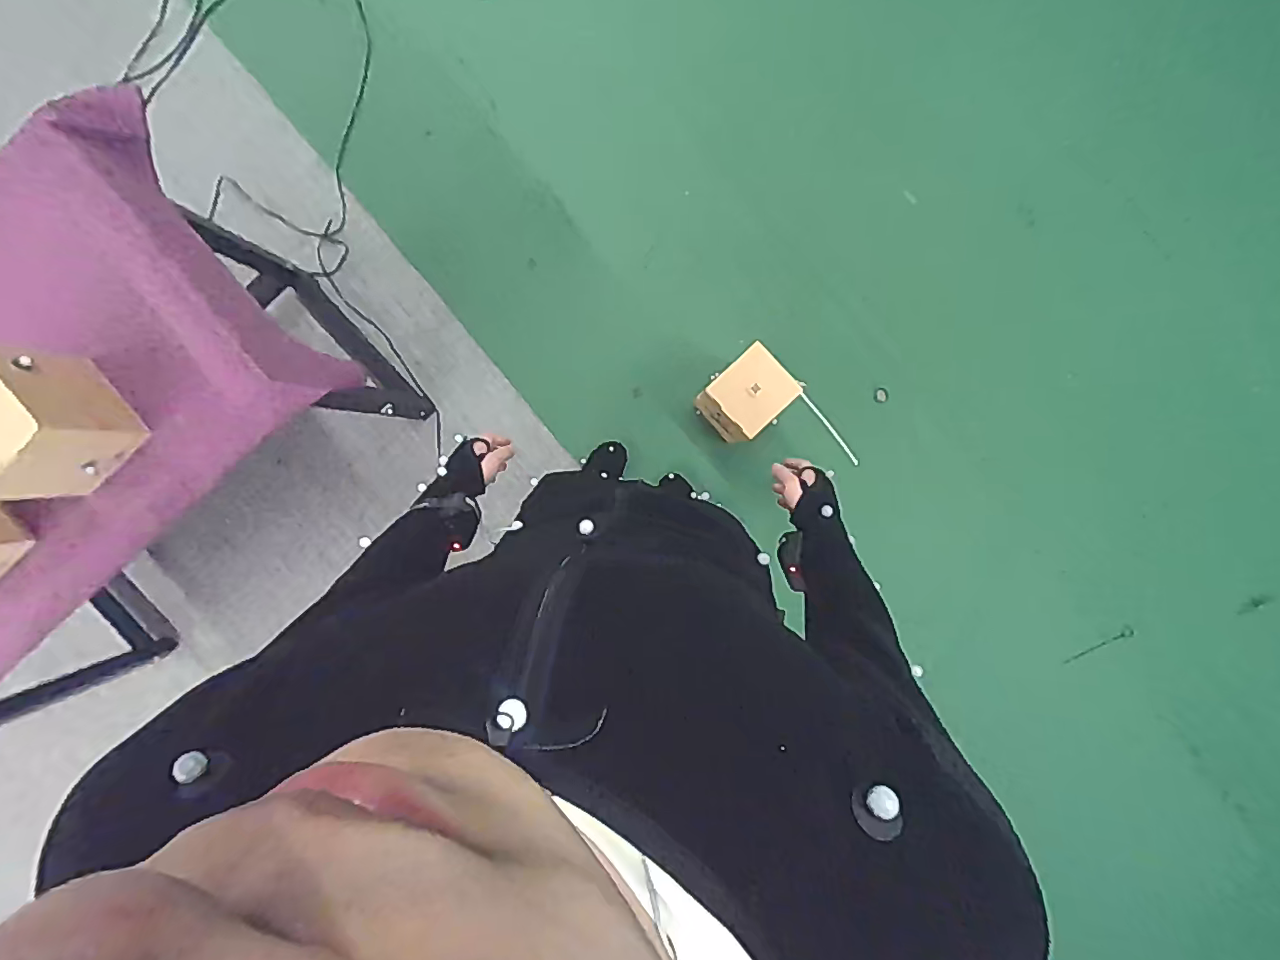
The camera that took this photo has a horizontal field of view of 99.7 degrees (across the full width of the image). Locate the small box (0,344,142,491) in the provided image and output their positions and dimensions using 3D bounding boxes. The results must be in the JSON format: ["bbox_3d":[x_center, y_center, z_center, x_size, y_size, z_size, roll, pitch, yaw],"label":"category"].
[{"bbox_3d":[-0.964,-0.092,0.848,0.168,0.176,0.179,-41,91,4],"label":"small box"}]

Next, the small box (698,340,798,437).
[{"bbox_3d":[0.263,-0.225,1.372,0.179,0.176,0.168,-43,91,4],"label":"small box"}]

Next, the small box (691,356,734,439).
[{"bbox_3d":[0.259,-0.231,1.535,0.179,0.176,0.168,-42,91,2],"label":"small box"}]
